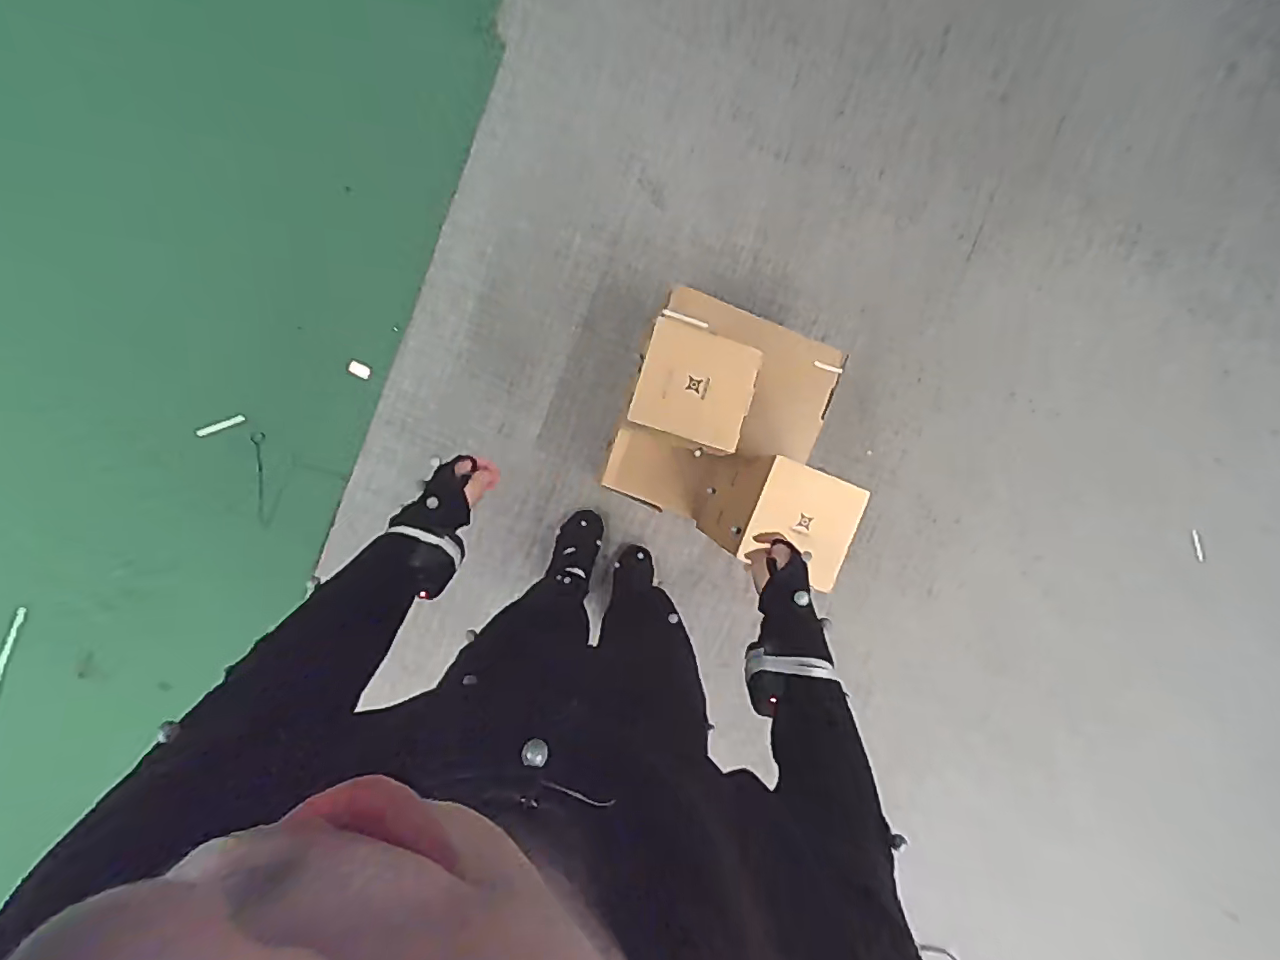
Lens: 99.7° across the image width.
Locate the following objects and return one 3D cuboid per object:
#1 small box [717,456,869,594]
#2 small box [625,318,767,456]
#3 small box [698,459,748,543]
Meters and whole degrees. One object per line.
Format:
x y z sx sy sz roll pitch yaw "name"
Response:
0.246 0.066 0.918 0.168 0.176 0.179 22 92 -6 "small box"
0.083 -0.144 0.900 0.179 0.176 0.168 18 90 -3 "small box"
0.234 0.061 1.081 0.179 0.176 0.168 22 91 -5 "small box"
